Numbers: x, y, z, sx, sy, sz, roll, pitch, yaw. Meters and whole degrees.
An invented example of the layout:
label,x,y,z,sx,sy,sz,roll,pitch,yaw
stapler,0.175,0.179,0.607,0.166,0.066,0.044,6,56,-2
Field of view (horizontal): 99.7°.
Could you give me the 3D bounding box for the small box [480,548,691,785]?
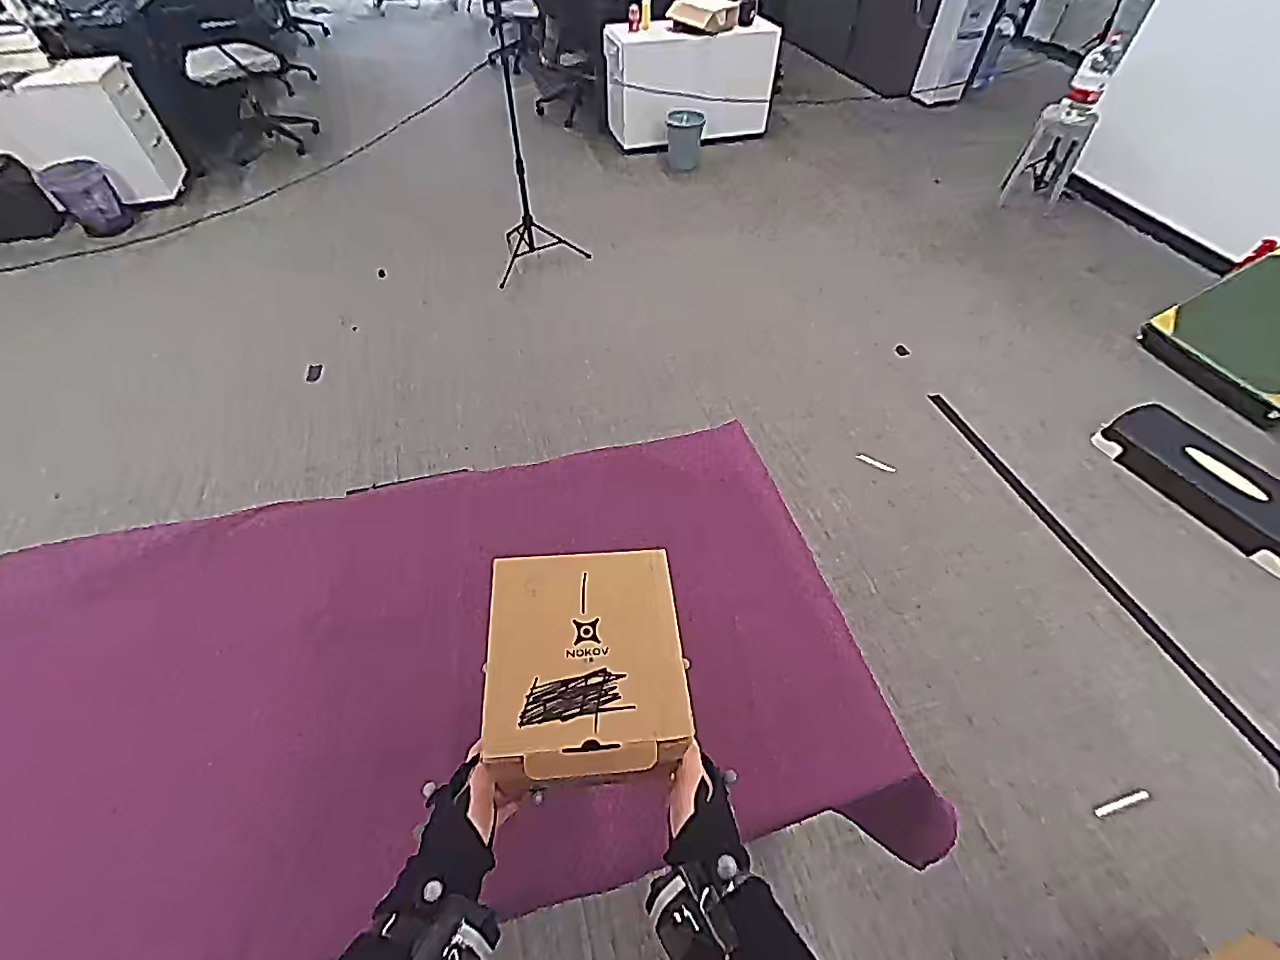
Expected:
label,x,y,z,sx,sy,sz,roll,pitch,yaw
small box,-0.052,0.185,0.525,0.168,0.176,0.179,-2,52,-7
